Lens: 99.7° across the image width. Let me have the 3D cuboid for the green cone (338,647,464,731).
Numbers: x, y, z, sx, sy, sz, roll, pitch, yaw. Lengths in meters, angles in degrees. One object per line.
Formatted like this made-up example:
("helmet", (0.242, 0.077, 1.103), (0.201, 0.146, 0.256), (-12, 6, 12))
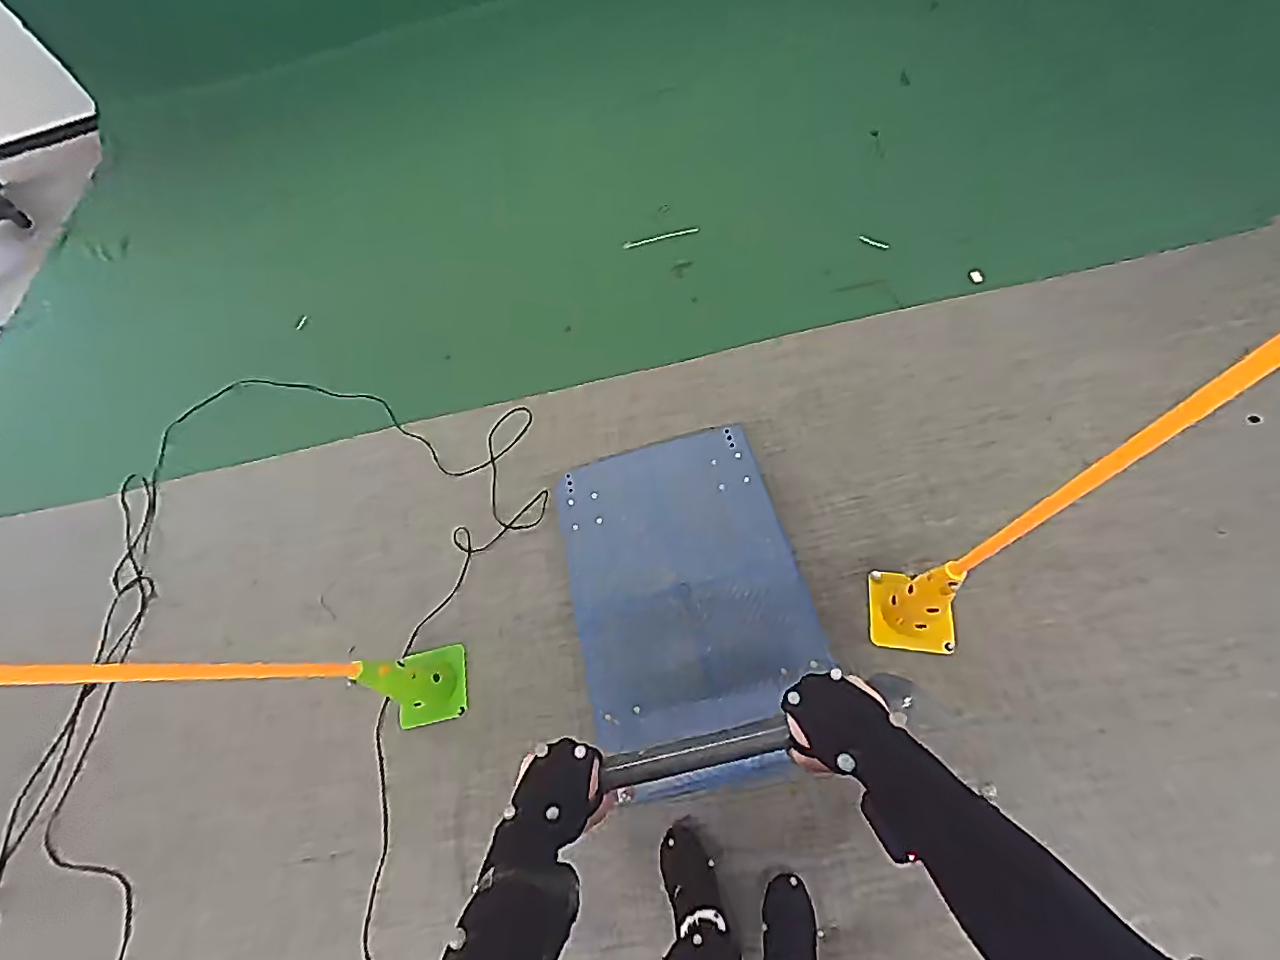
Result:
("green cone", (-0.635, 0.517, 1.396), (0.202, 0.368, 0.200), (-16, 61, 5))
